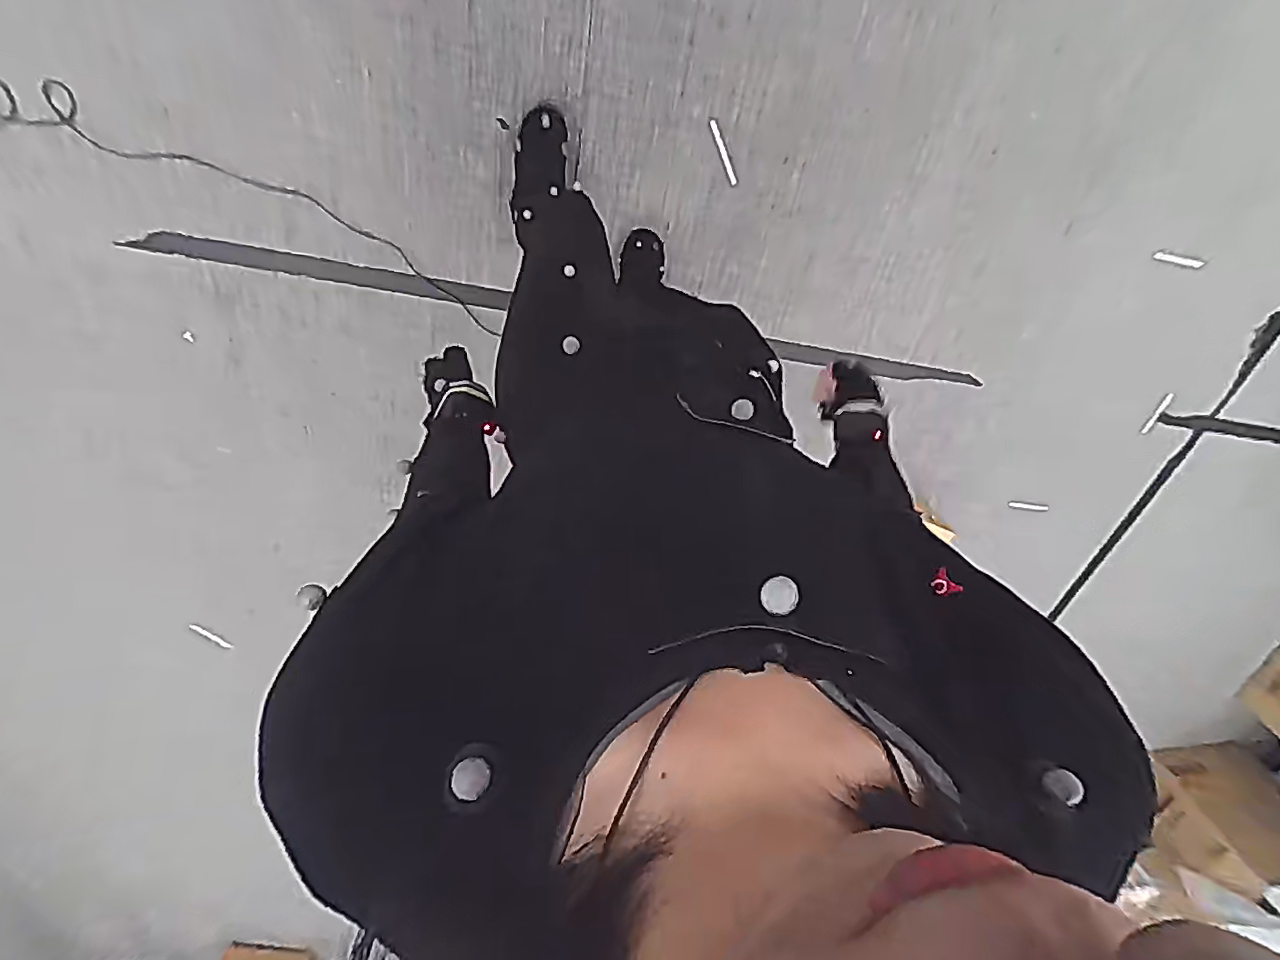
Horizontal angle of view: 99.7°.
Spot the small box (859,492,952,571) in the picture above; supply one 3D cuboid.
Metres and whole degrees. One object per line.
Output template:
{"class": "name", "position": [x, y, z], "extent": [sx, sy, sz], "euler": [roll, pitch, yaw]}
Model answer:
{"class": "small box", "position": [0.855, 0.163, 1.759], "extent": [0.179, 0.176, 0.168], "euler": [21, 117, -16]}
